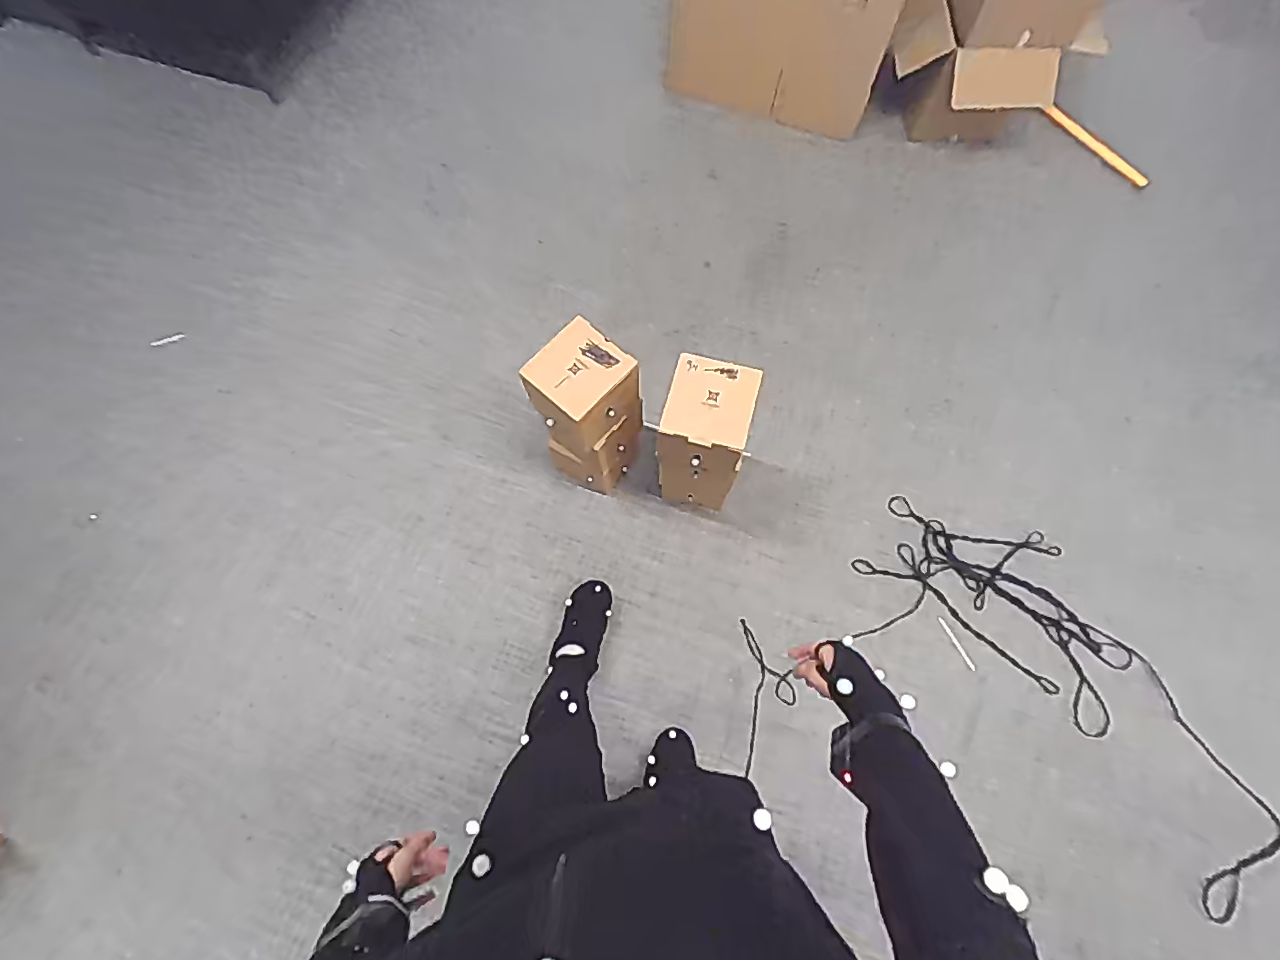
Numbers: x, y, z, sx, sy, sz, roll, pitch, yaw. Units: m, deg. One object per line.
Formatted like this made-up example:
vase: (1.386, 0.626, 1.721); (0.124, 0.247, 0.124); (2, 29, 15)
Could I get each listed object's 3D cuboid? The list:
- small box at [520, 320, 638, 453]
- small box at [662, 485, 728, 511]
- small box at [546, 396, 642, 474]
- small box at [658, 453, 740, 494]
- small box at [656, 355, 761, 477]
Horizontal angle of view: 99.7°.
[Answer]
small box: (-0.120, -0.188, 1.131); (0.168, 0.176, 0.179); (40, 77, 13)
small box: (0.155, -0.030, 1.412); (0.168, 0.176, 0.179); (11, 71, 5)
small box: (-0.112, -0.141, 1.288); (0.179, 0.176, 0.168); (36, 75, 12)
small box: (0.139, -0.074, 1.255); (0.179, 0.176, 0.168); (7, 72, 5)
small box: (0.136, -0.121, 1.099); (0.168, 0.176, 0.179); (15, 74, 7)
